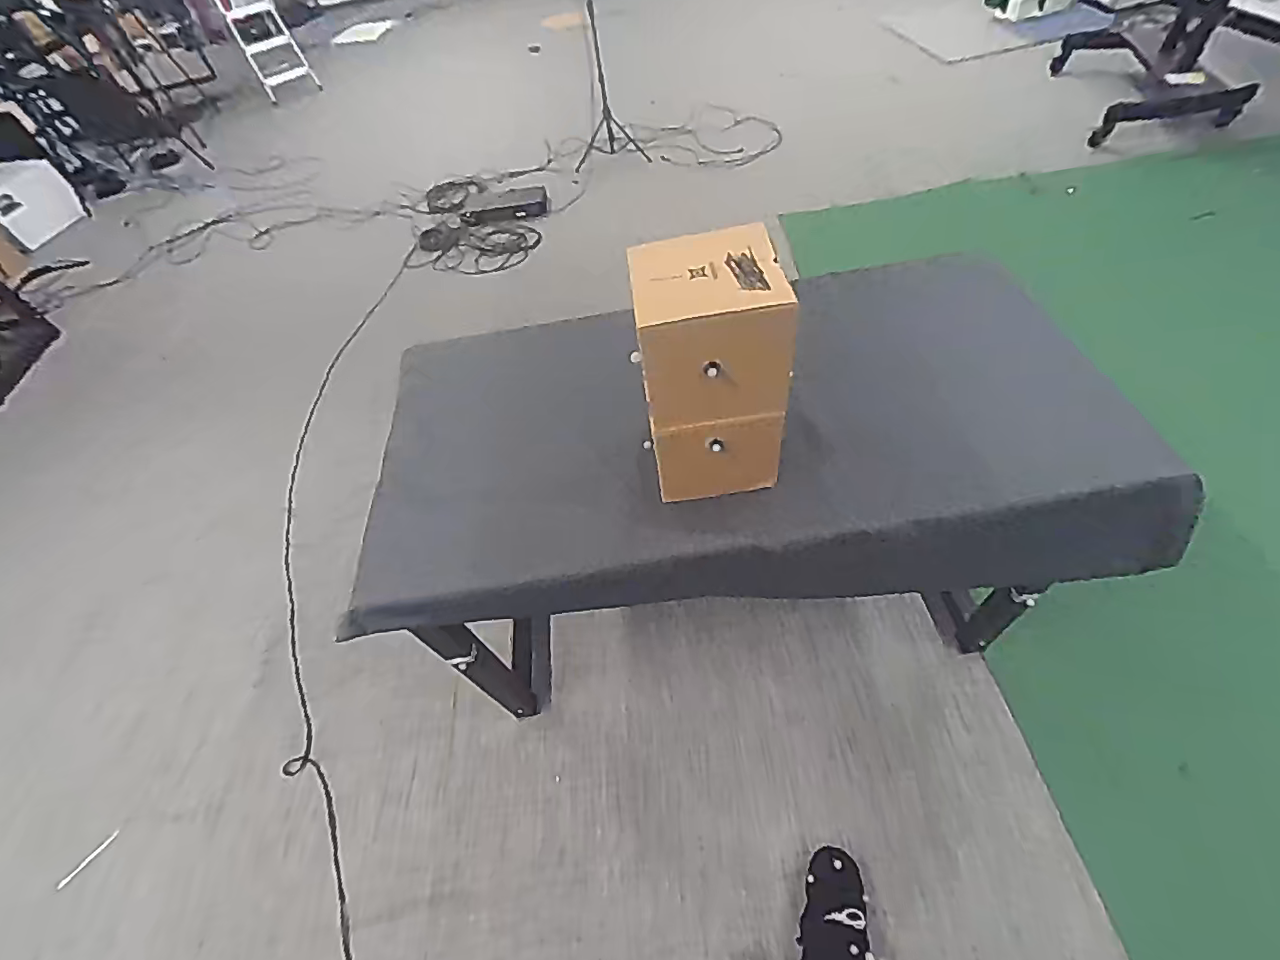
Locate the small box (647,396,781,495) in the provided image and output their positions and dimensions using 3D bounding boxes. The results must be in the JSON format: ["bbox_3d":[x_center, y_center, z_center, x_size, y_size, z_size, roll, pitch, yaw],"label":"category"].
[{"bbox_3d":[0.102,-0.092,0.818,0.179,0.176,0.168,-8,54,1],"label":"small box"}]

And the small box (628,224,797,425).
[{"bbox_3d":[0.086,-0.191,0.687,0.179,0.176,0.168,-8,54,4],"label":"small box"}]
